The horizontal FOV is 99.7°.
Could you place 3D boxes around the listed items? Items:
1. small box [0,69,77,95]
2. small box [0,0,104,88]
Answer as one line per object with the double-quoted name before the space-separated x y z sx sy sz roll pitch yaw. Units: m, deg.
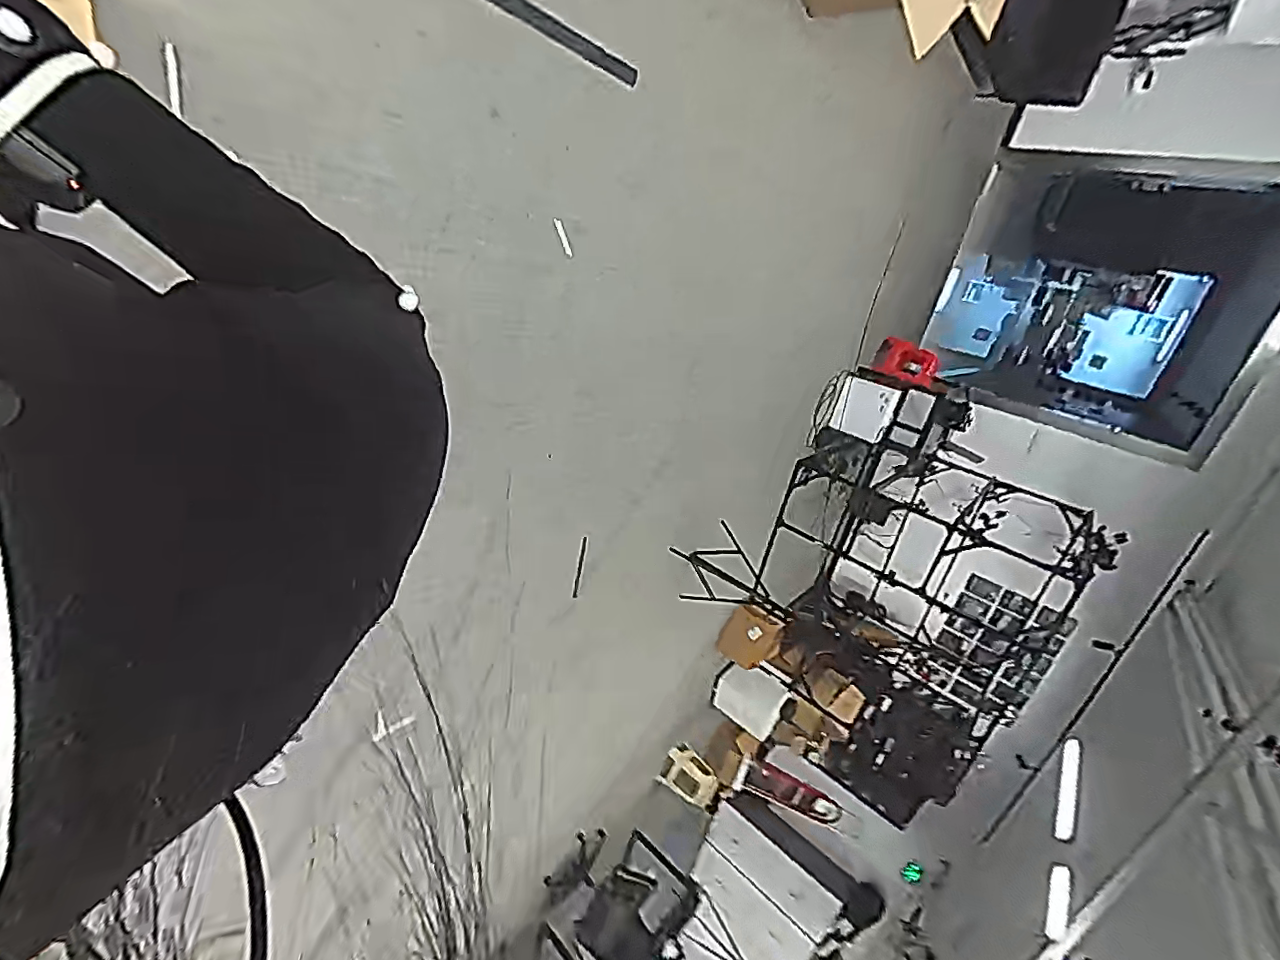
"small box" -0.958 -0.694 0.785 0.168 0.176 0.179 -14 125 -50
"small box" -0.837 -0.627 0.693 0.179 0.176 0.168 -17 126 -50
